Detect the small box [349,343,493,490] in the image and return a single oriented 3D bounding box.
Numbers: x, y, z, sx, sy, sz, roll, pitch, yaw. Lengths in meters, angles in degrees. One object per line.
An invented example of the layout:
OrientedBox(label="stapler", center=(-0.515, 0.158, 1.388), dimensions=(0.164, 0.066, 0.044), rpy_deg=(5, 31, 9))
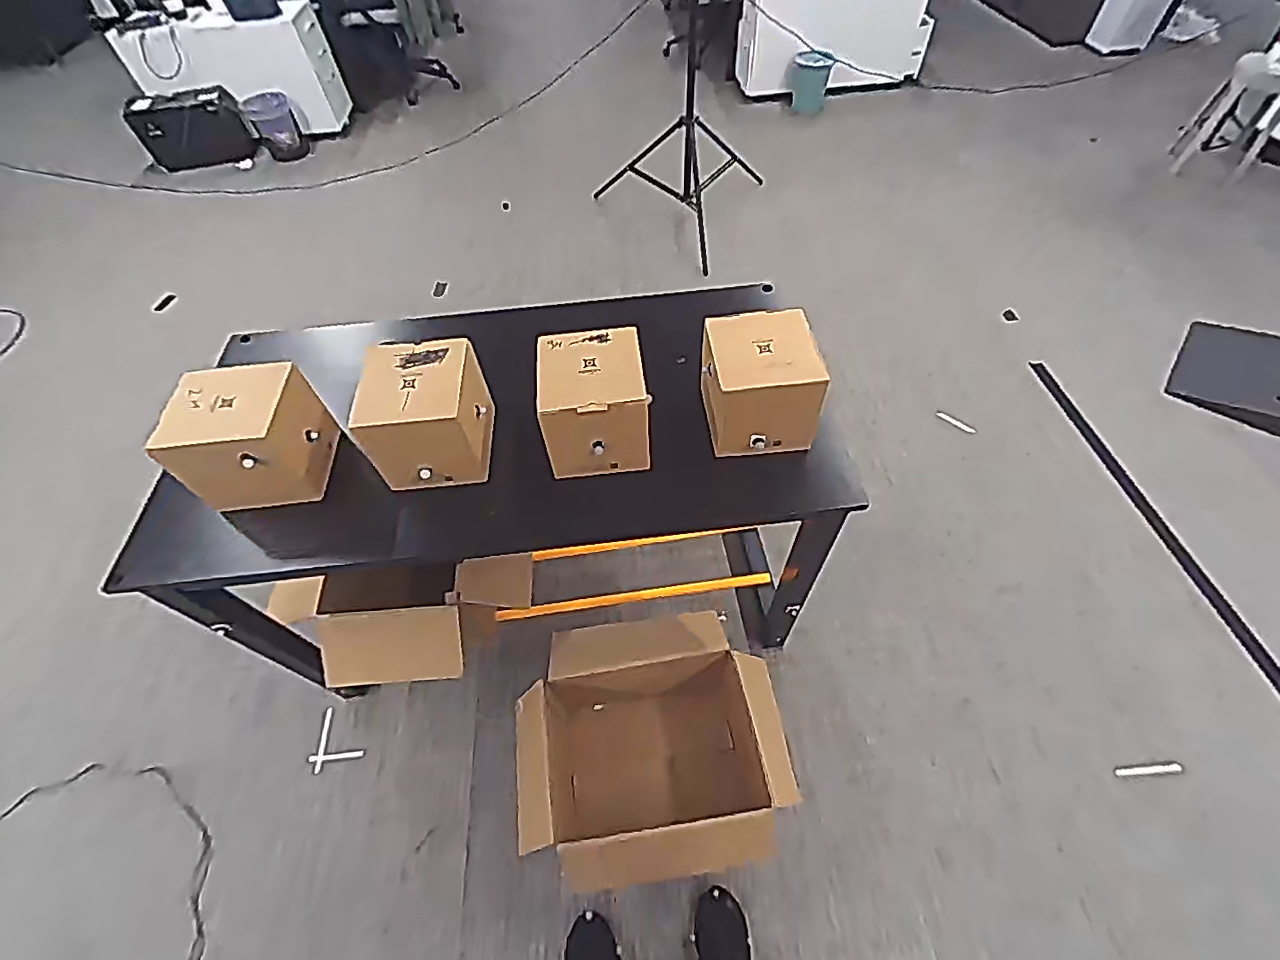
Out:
OrientedBox(label="small box", center=(-0.353, -0.104, 0.911), dimensions=(0.168, 0.176, 0.179), rpy_deg=(-6, 55, -1))

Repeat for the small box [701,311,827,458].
OrientedBox(label="small box", center=(0.197, -0.160, 0.922), dimensions=(0.168, 0.176, 0.179), rpy_deg=(-7, 55, 0))

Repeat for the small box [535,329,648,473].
OrientedBox(label="small box", center=(-0.078, -0.125, 0.913), dimensions=(0.168, 0.176, 0.179), rpy_deg=(-6, 55, -1))

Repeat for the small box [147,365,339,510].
OrientedBox(label="small box", center=(-0.635, -0.067, 0.896), dimensions=(0.179, 0.176, 0.168), rpy_deg=(-7, 54, -2))
